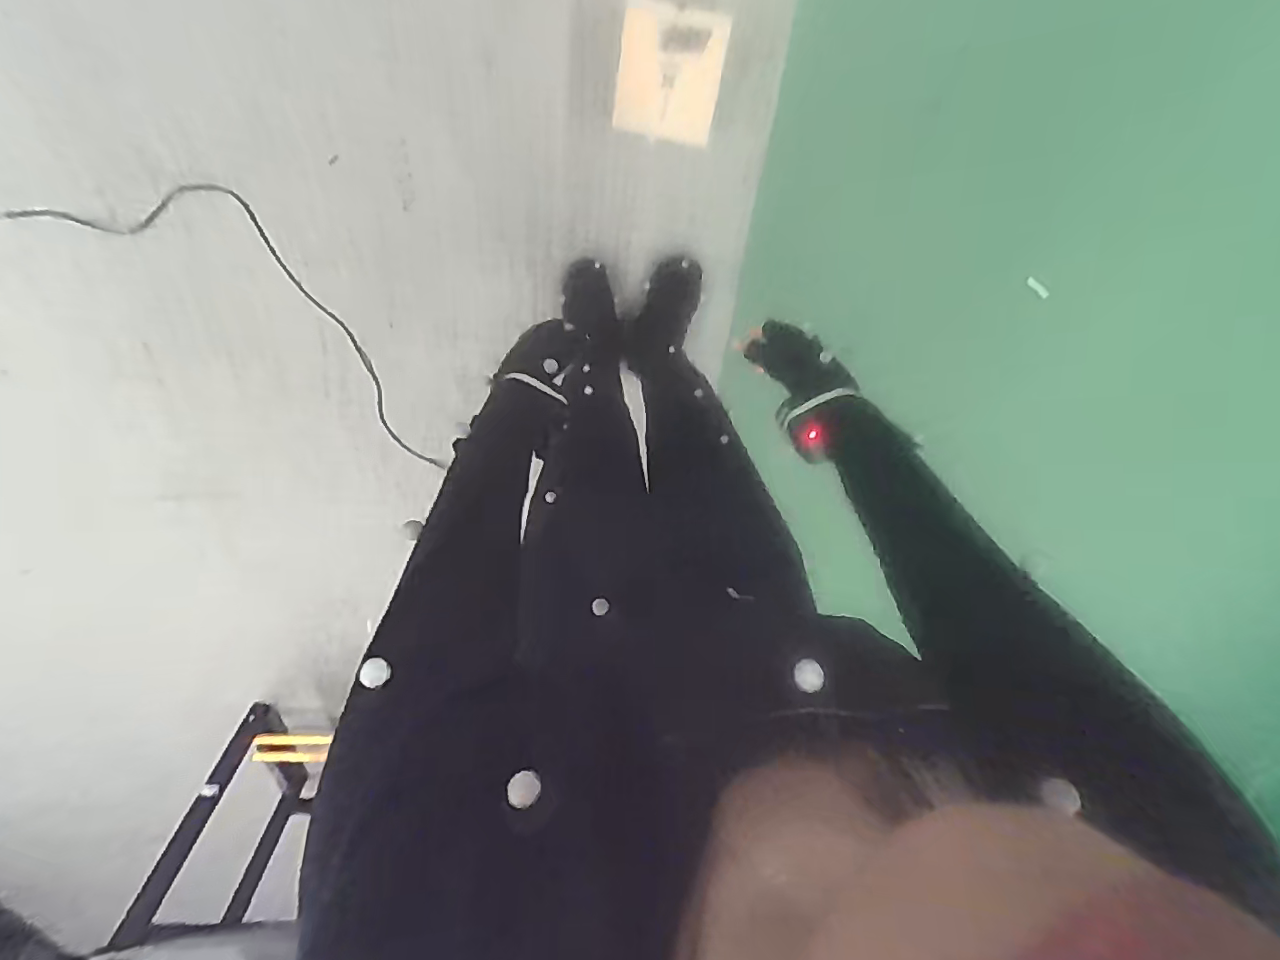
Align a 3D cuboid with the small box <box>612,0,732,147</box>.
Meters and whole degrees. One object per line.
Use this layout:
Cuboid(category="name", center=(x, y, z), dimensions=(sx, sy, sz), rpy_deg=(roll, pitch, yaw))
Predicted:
Cuboid(category="small box", center=(0.043, -0.693, 0.929), dimensions=(0.168, 0.176, 0.179), rpy_deg=(7, 124, -8))
